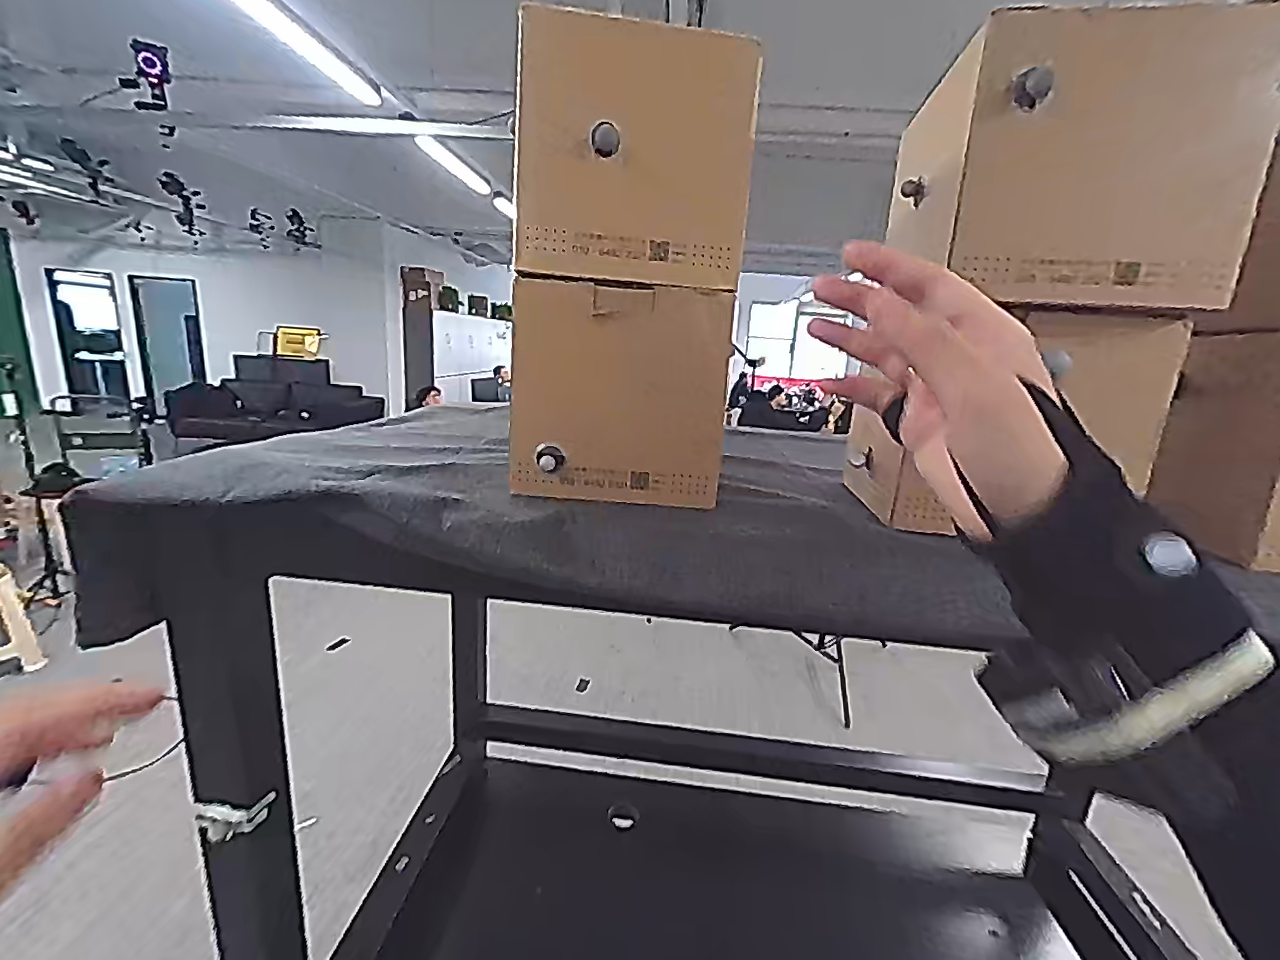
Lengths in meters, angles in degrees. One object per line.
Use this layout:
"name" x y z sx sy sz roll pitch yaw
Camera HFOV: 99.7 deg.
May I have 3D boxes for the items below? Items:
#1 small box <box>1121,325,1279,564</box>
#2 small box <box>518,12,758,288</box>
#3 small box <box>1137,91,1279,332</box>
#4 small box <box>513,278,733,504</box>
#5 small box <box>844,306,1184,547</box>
"small box" 0.522 -0.030 0.440 0.168 0.176 0.179 4 13 5
"small box" -0.011 -0.238 0.457 0.168 0.176 0.179 2 12 -7
"small box" 0.533 -0.190 0.390 0.179 0.176 0.168 5 13 1
"small box" -0.013 -0.080 0.493 0.168 0.176 0.179 4 12 0
"small box" 0.287 -0.051 0.463 0.168 0.176 0.179 6 13 7
